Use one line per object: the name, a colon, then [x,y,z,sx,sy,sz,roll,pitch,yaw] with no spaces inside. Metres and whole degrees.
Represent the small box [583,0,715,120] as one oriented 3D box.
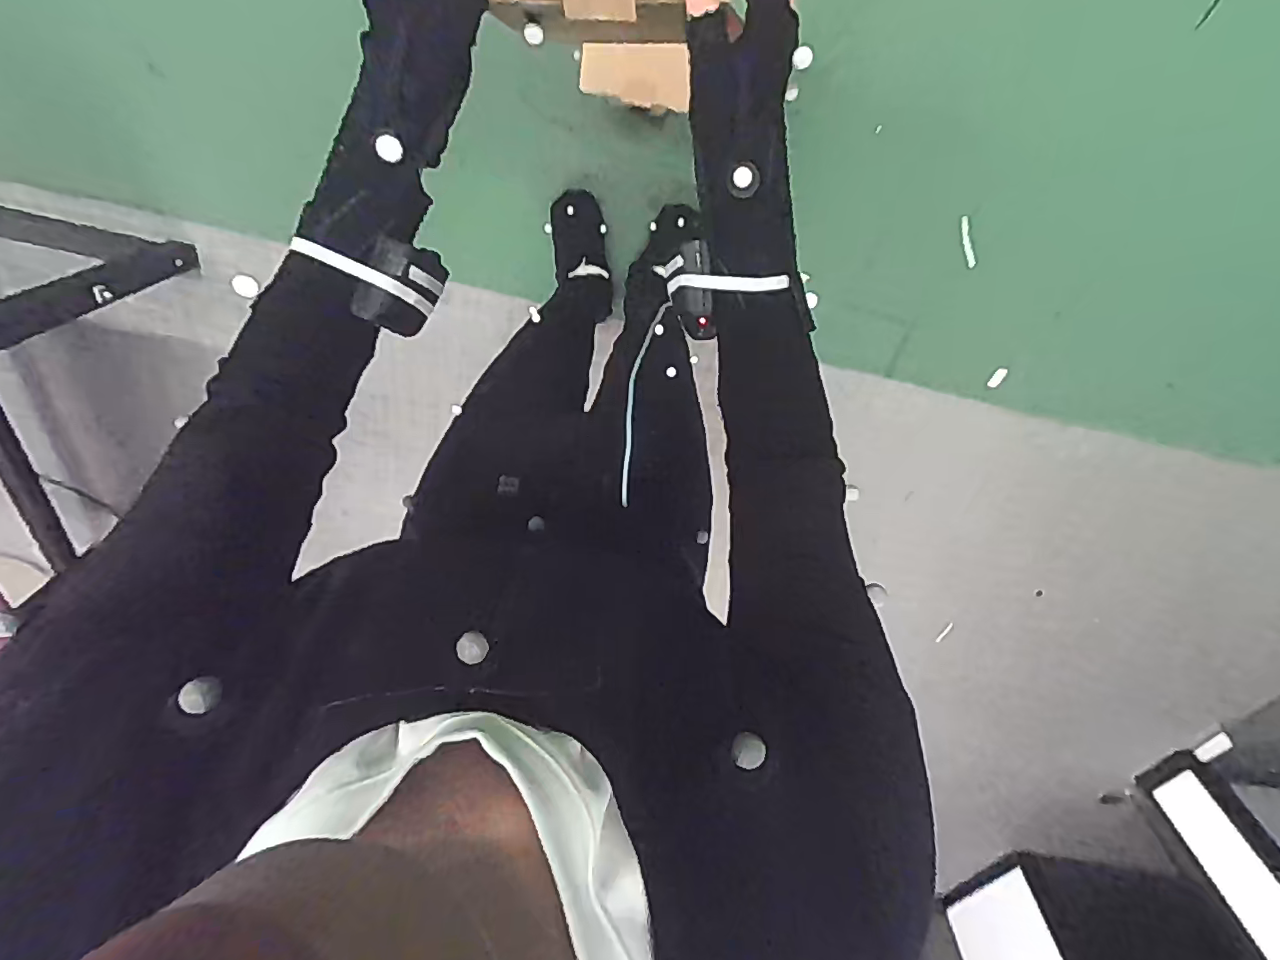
small box: [0.011,-0.662,0.810,0.168,0.176,0.179,9,126,-5]
